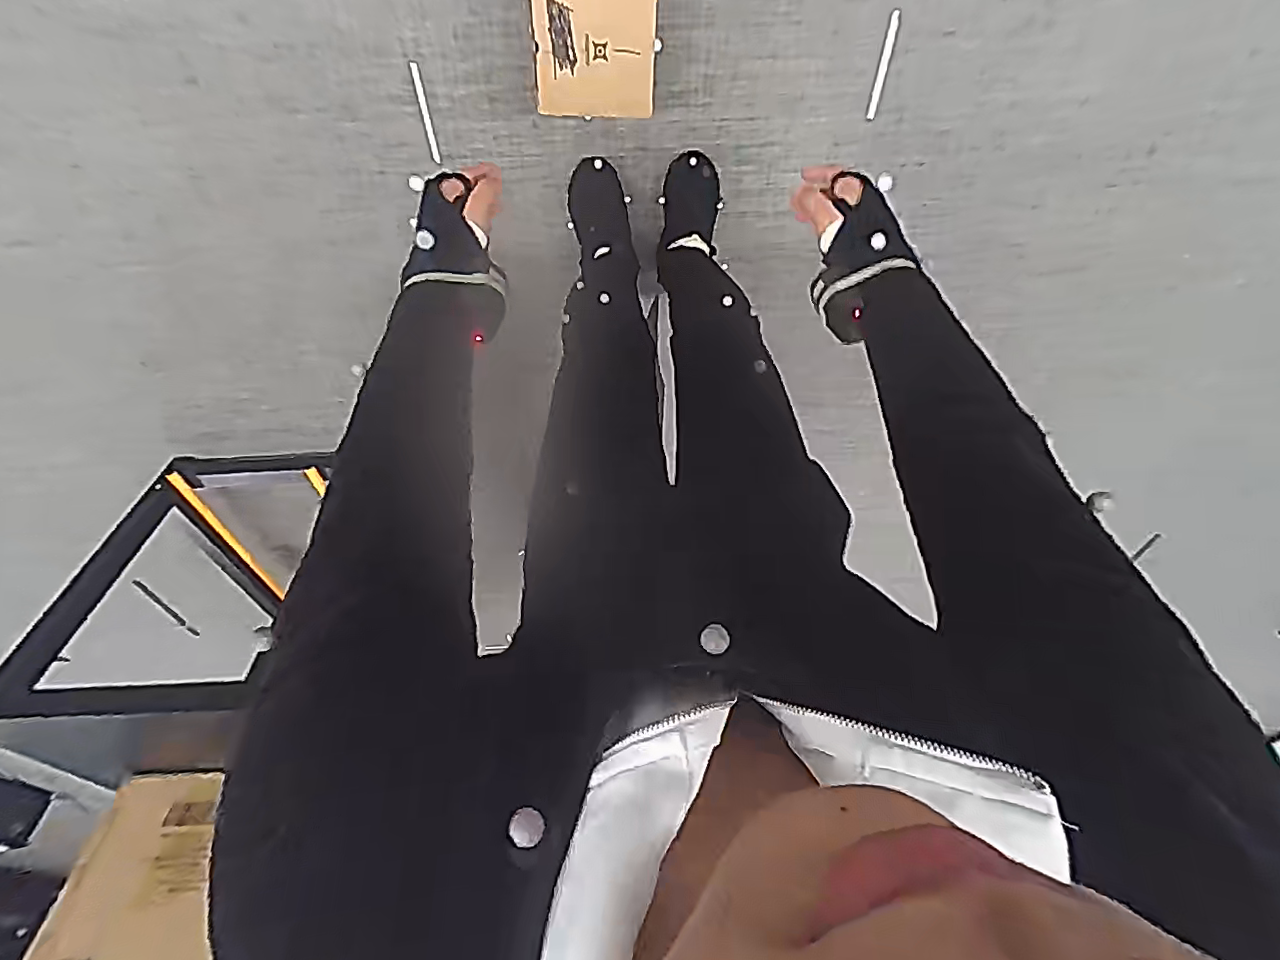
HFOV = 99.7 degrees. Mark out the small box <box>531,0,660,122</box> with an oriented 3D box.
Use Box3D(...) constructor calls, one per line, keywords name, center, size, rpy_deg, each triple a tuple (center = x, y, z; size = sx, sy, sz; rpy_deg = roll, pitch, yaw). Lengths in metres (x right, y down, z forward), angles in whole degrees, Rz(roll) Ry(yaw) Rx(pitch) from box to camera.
Box3D(name="small box", center=(-0.065, -0.667, 0.825), size=(0.179, 0.176, 0.168), rpy_deg=(0, 137, -4))
